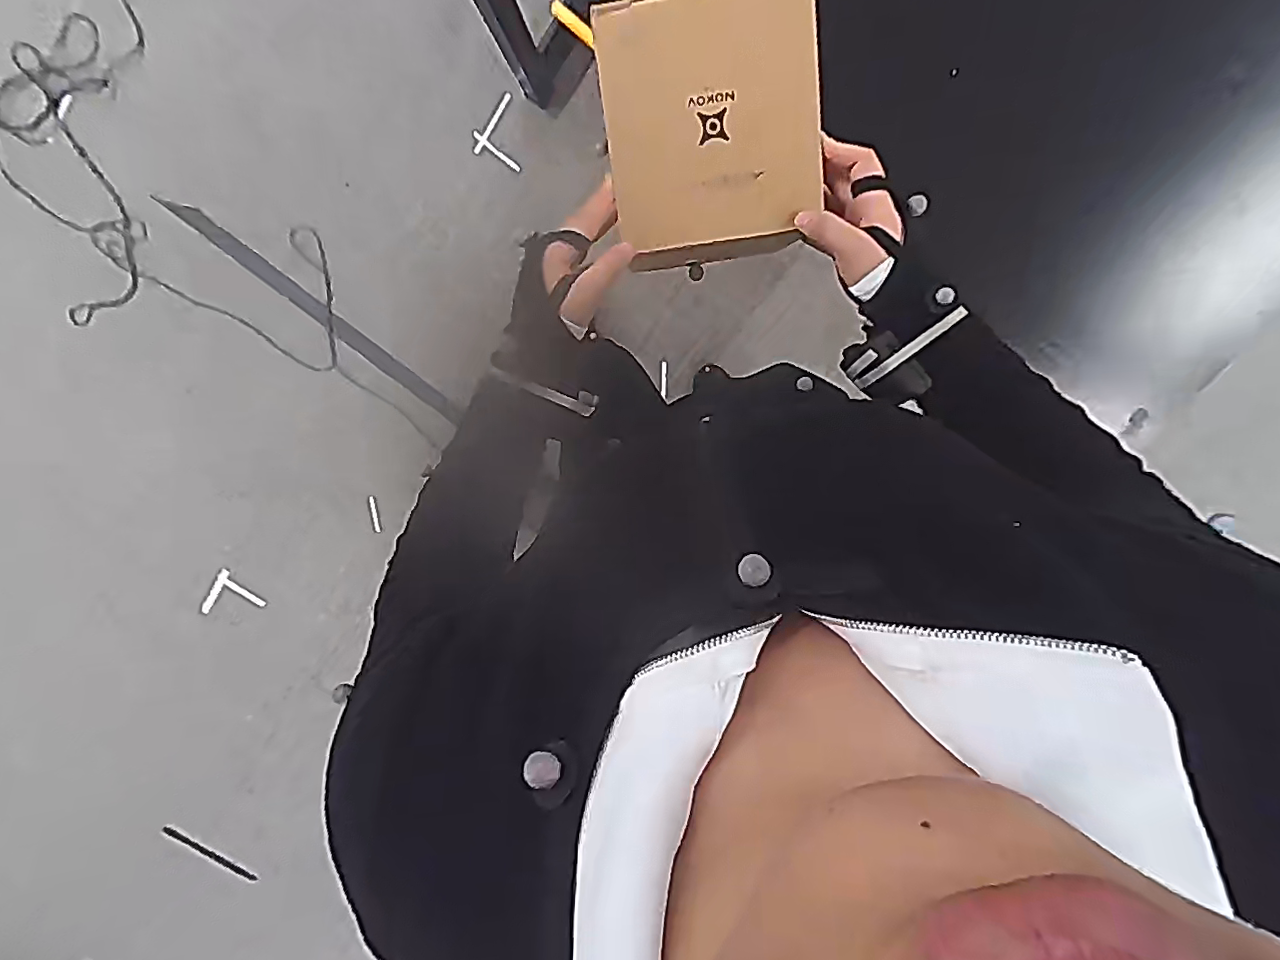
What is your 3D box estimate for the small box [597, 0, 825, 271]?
[{"bbox_3d":[0.058,-0.300,0.492,0.168,0.176,0.179,-7,106,3],"label":"small box"}]
